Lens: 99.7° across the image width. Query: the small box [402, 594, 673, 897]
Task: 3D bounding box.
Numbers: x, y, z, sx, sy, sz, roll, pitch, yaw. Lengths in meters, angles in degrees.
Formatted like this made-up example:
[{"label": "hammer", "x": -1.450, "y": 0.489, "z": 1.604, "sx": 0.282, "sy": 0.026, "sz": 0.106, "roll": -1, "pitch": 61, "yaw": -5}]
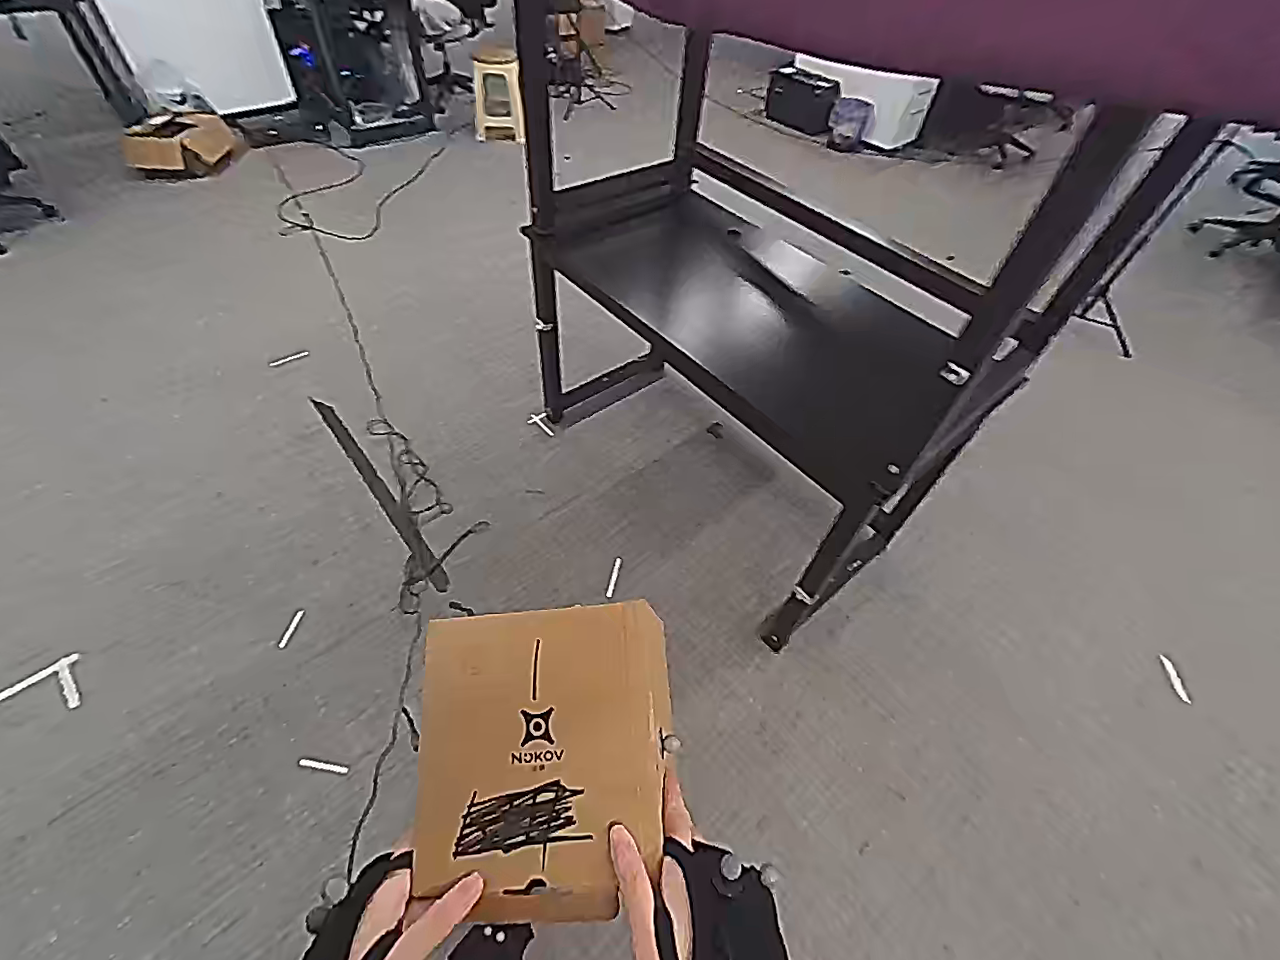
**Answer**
[{"label": "small box", "x": -0.065, "y": 0.196, "z": 0.432, "sx": 0.168, "sy": 0.176, "sz": 0.179, "roll": -7, "pitch": 69, "yaw": 4}]
